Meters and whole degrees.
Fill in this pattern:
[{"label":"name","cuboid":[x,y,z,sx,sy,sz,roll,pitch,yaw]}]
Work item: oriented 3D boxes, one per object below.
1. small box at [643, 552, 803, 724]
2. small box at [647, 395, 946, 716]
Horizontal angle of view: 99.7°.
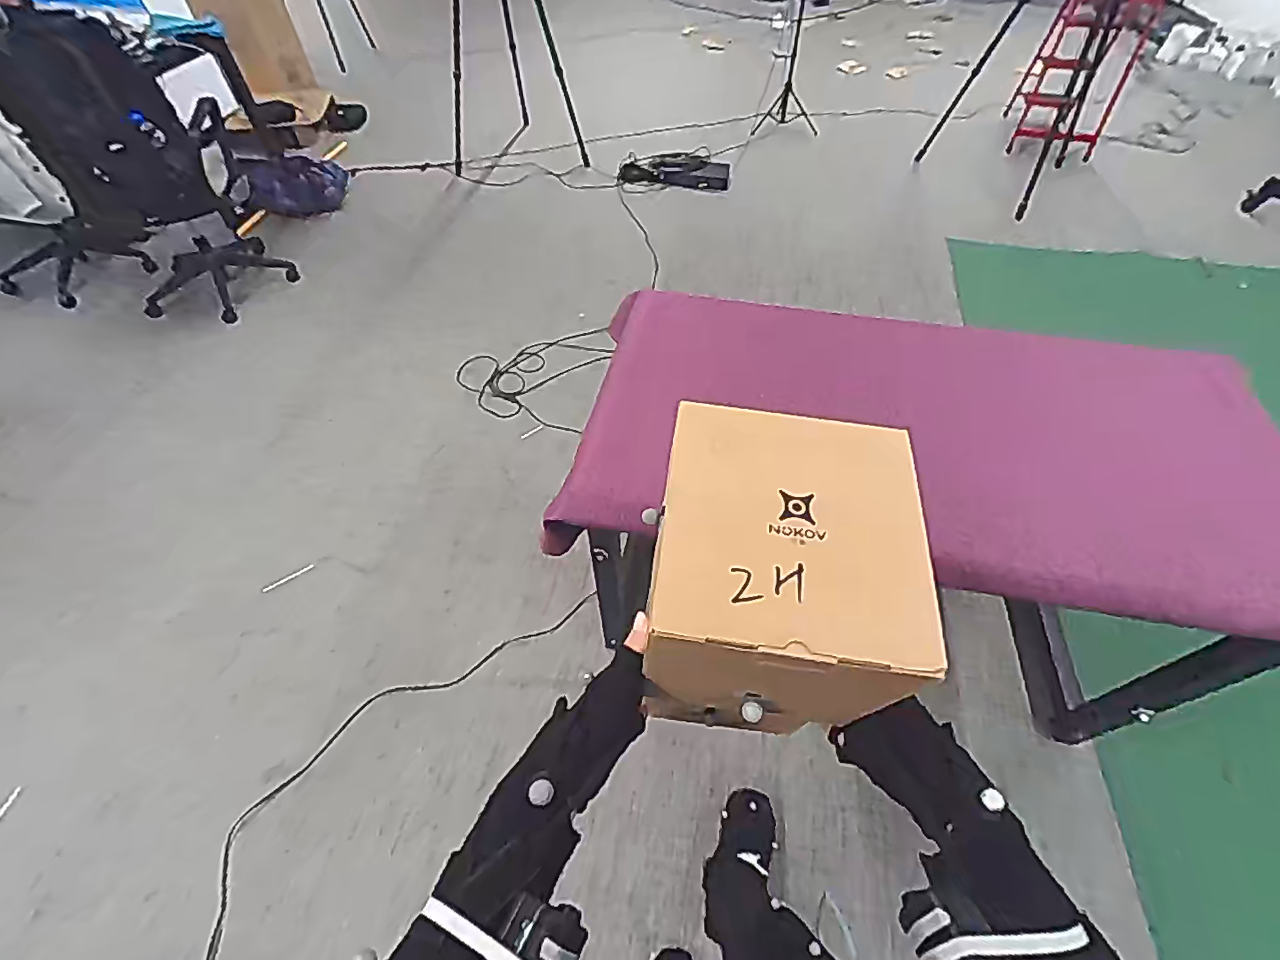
[{"label":"small box","cuboid":[0.095,0.139,0.562,0.168,0.176,0.179,7,58,1]},{"label":"small box","cuboid":[0.098,0.064,0.414,0.168,0.176,0.179,8,58,3]}]
